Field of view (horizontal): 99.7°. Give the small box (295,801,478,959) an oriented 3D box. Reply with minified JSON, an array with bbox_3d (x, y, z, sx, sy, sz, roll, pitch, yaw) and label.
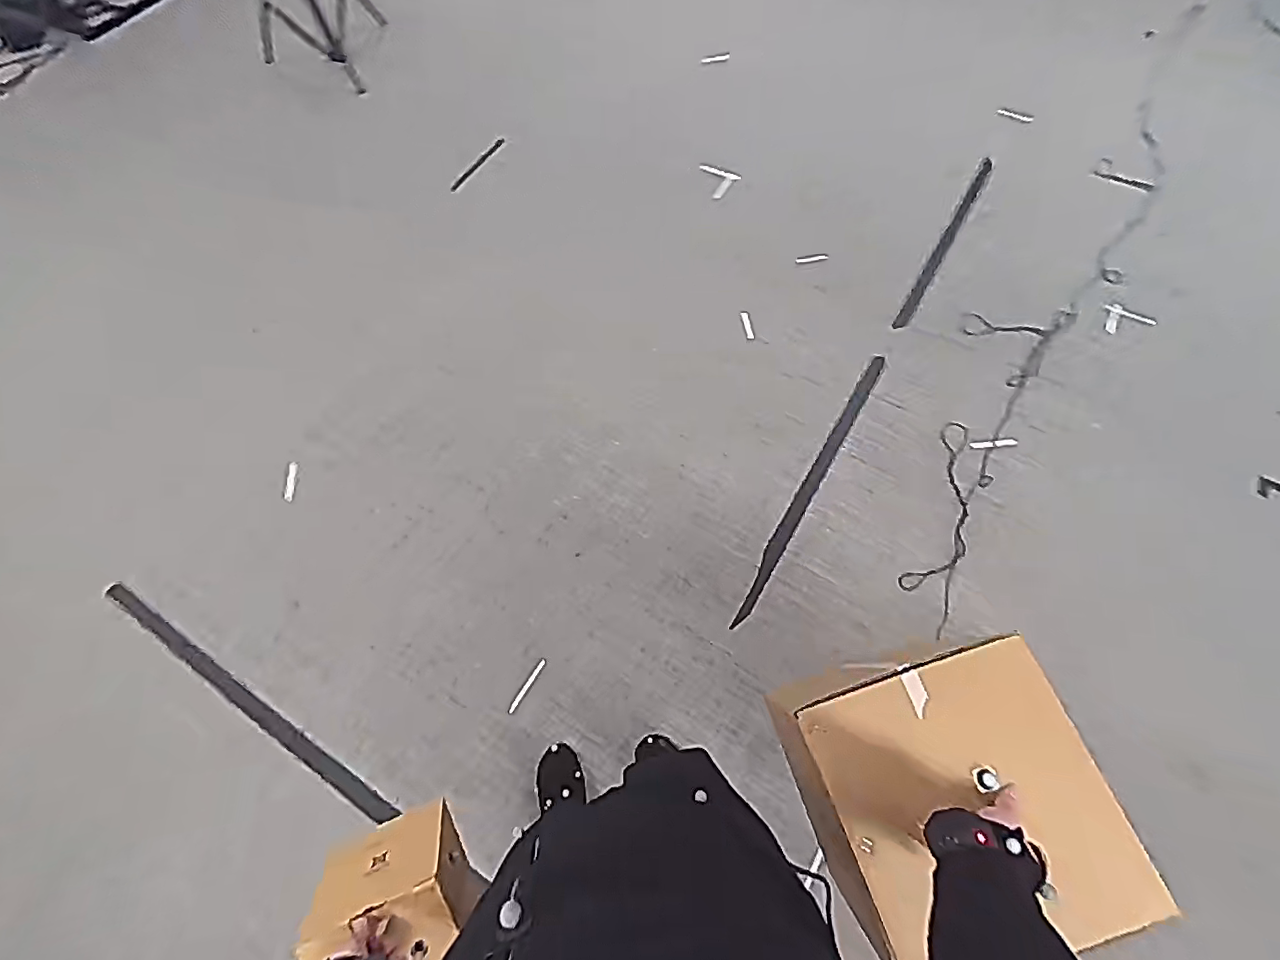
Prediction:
[{"bbox_3d":[-0.326,0.595,0.734,0.168,0.179,0.176,-18,96,-15],"label":"small box"}]
